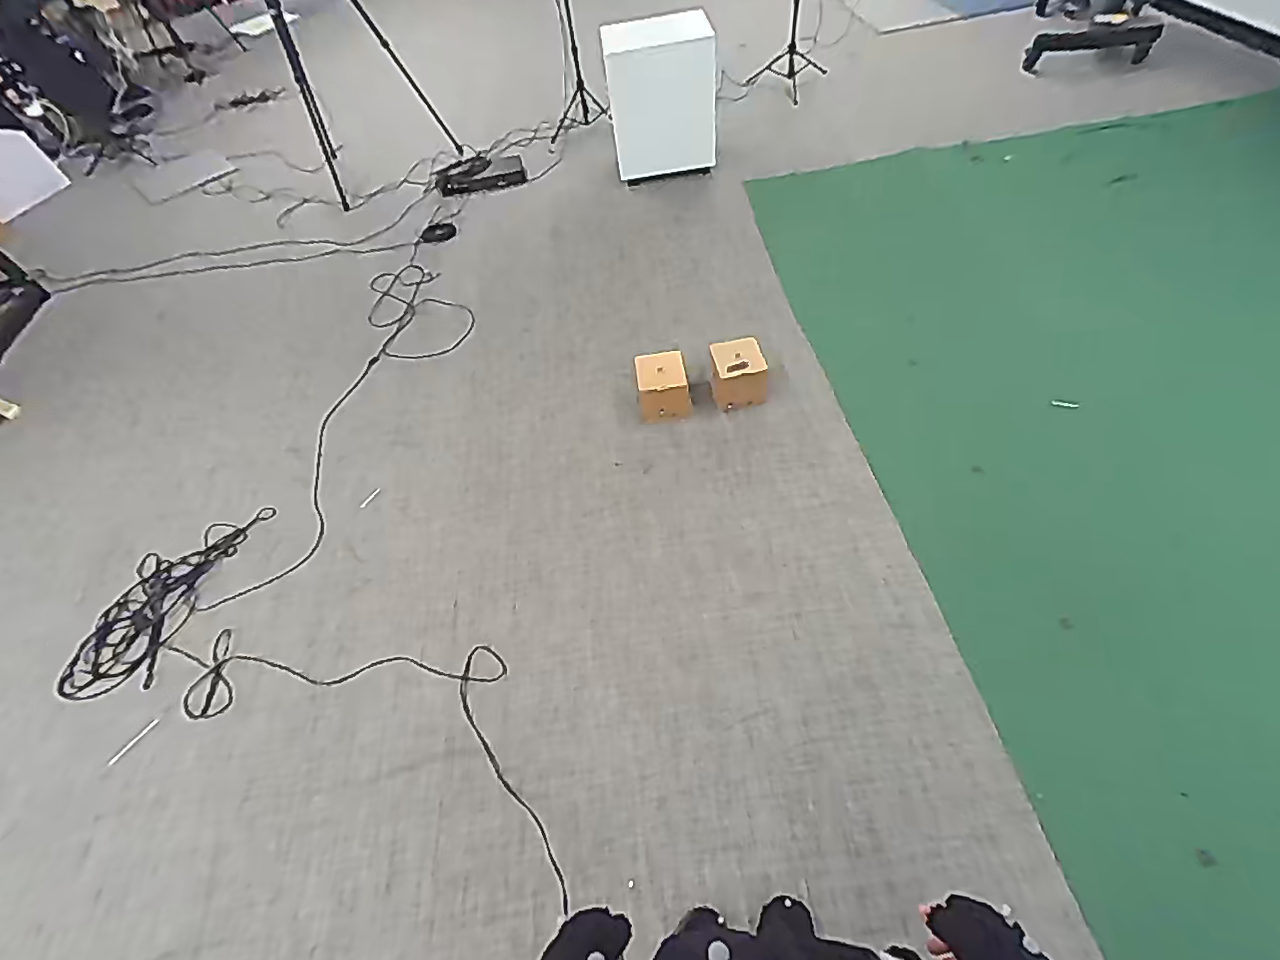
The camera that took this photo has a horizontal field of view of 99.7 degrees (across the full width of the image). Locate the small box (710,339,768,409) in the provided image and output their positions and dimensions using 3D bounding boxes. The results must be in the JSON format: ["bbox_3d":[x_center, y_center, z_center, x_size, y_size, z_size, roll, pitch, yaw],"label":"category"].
[{"bbox_3d":[0.348,-0.367,1.914,0.168,0.176,0.179,-11,54,0],"label":"small box"}]

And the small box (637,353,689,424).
[{"bbox_3d":[0.082,-0.323,1.918,0.168,0.176,0.179,-8,55,1],"label":"small box"}]
